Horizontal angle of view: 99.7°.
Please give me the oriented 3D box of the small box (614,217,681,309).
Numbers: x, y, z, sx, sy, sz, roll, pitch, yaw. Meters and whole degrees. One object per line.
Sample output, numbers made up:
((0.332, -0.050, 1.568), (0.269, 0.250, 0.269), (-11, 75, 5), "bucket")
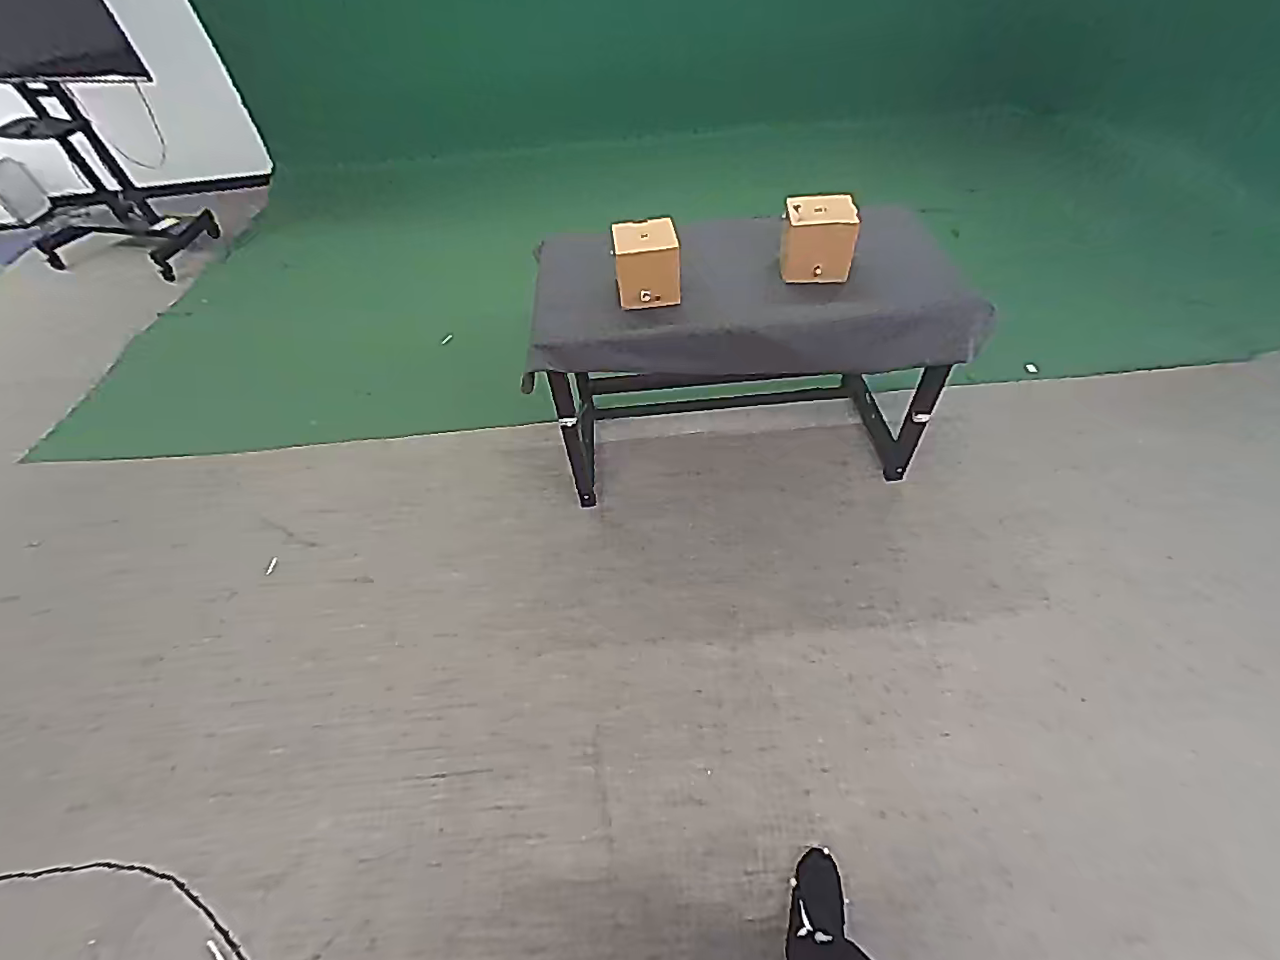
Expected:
((0.020, -0.595, 1.488), (0.168, 0.176, 0.179), (-7, 49, 2), "small box")

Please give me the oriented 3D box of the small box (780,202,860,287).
((0.499, -0.658, 1.519), (0.179, 0.176, 0.168), (2, 50, 6), "small box")
